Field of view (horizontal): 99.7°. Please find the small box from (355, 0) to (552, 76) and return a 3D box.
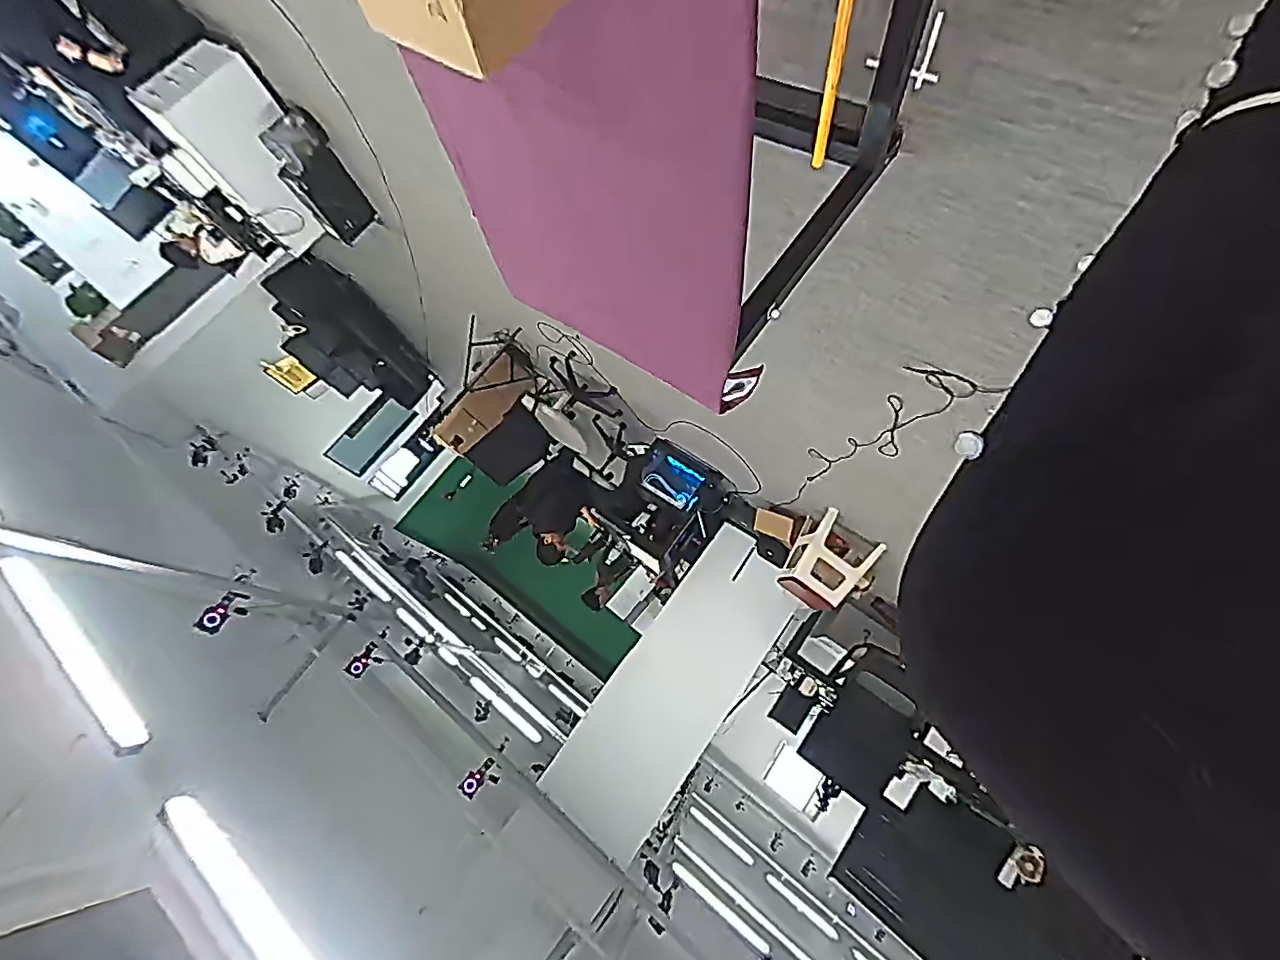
[{"bbox_3d":[-0.178,-0.523,0.484,0.179,0.176,0.168,34,168,17],"label":"small box"}]
